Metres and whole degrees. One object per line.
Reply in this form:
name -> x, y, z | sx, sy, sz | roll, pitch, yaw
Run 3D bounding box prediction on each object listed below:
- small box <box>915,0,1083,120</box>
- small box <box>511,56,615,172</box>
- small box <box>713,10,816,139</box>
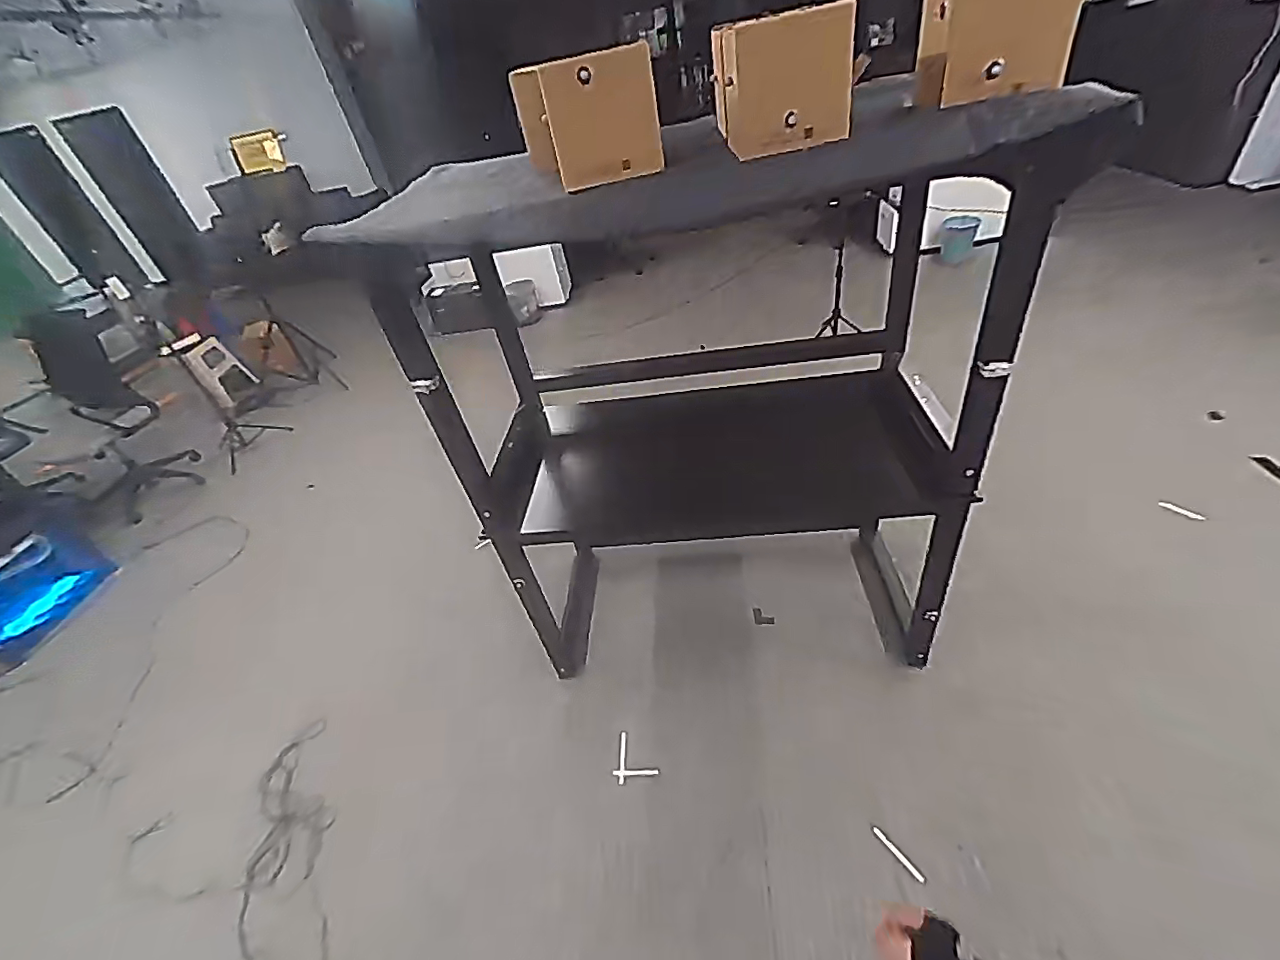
small box -> 0.540, -0.675, 0.837 | 0.168, 0.176, 0.179 | -3, 40, 13
small box -> -0.148, -0.755, 1.118 | 0.168, 0.176, 0.179 | -7, 40, 7
small box -> 0.234, -0.765, 1.029 | 0.168, 0.176, 0.179 | -7, 38, 7
